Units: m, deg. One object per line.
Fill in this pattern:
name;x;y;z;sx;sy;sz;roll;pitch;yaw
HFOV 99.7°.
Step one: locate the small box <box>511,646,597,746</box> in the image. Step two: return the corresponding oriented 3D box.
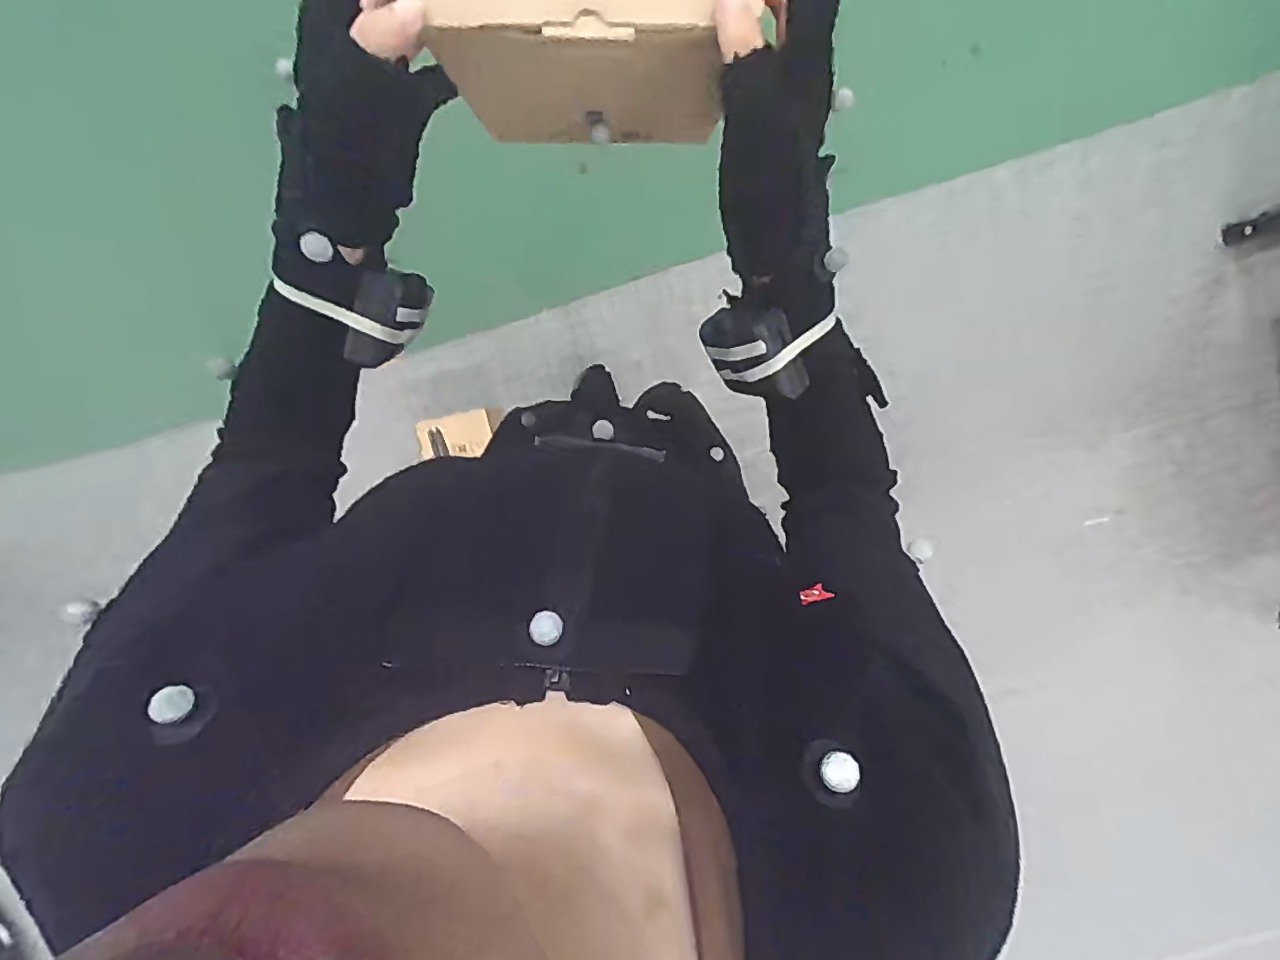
small box;-0.227;0.582;1.474;0.179;0.176;0.168;-17;99;2
